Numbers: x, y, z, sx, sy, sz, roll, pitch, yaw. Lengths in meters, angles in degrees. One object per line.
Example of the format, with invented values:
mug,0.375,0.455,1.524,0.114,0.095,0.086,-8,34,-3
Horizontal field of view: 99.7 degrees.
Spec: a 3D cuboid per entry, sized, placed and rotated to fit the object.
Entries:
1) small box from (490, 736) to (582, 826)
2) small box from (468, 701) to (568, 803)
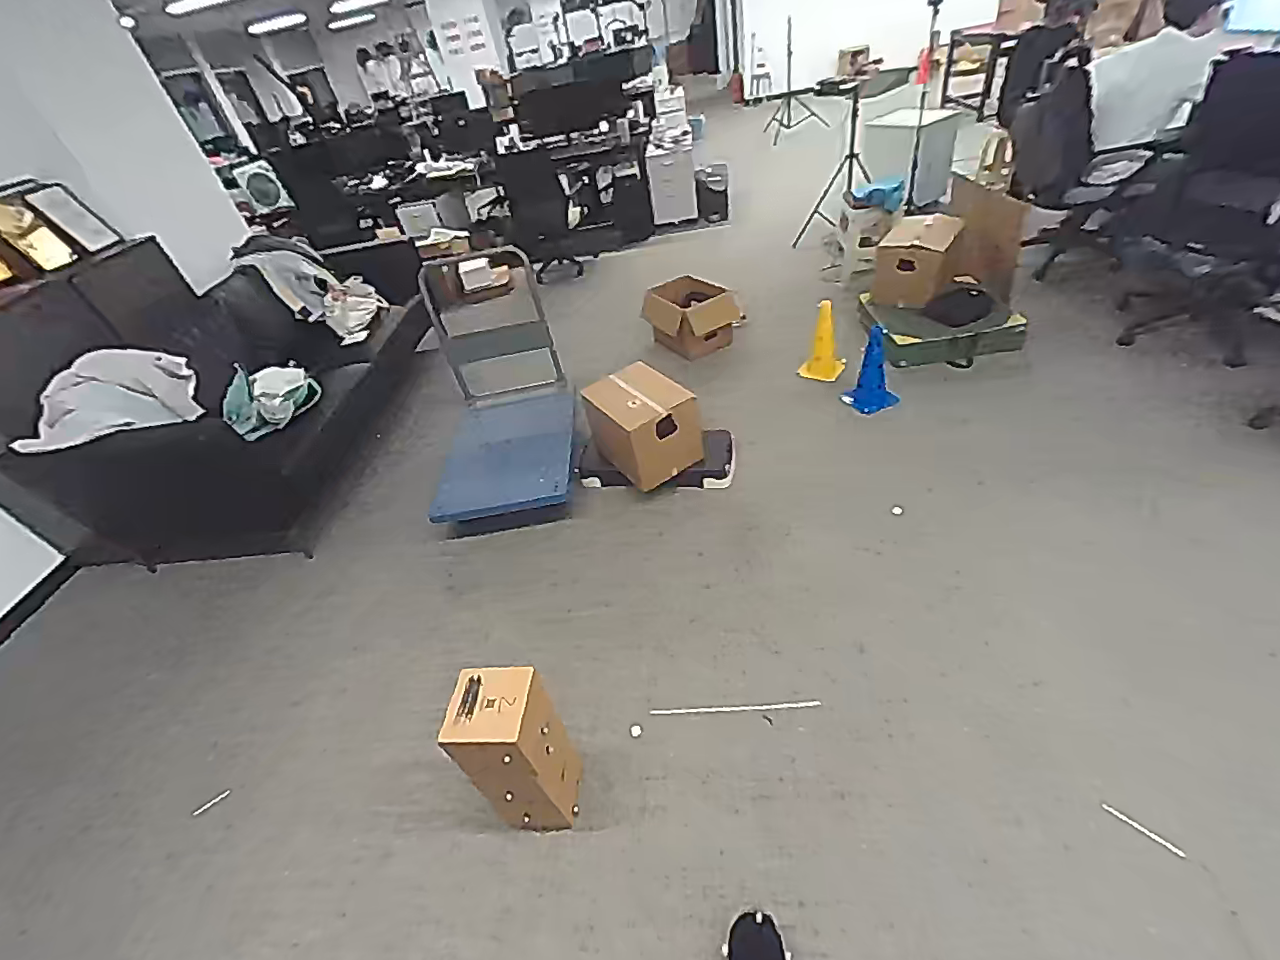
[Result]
small box,-0.258,0.778,1.400,0.179,0.176,0.168,-6,41,10
small box,-0.281,0.653,1.295,0.168,0.176,0.179,-4,41,10
